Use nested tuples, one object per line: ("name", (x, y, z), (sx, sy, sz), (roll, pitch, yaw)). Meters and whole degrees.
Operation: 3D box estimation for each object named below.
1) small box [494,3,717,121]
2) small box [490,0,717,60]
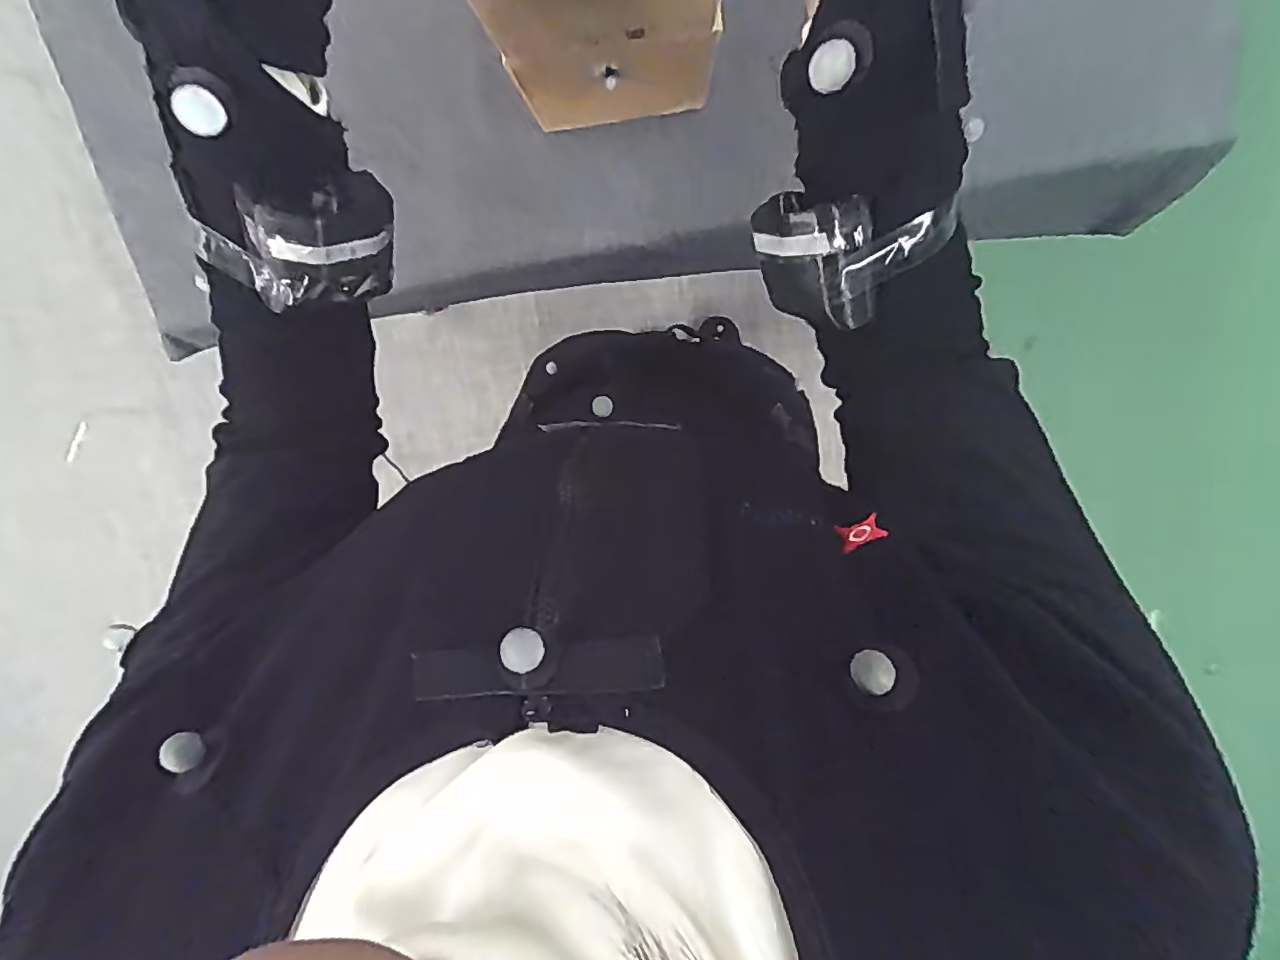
("small box", (-0.031, -0.447, 0.481), (0.179, 0.176, 0.168), (-7, 107, 4))
("small box", (-0.035, -0.403, 0.326), (0.168, 0.176, 0.179), (-8, 108, 4))
